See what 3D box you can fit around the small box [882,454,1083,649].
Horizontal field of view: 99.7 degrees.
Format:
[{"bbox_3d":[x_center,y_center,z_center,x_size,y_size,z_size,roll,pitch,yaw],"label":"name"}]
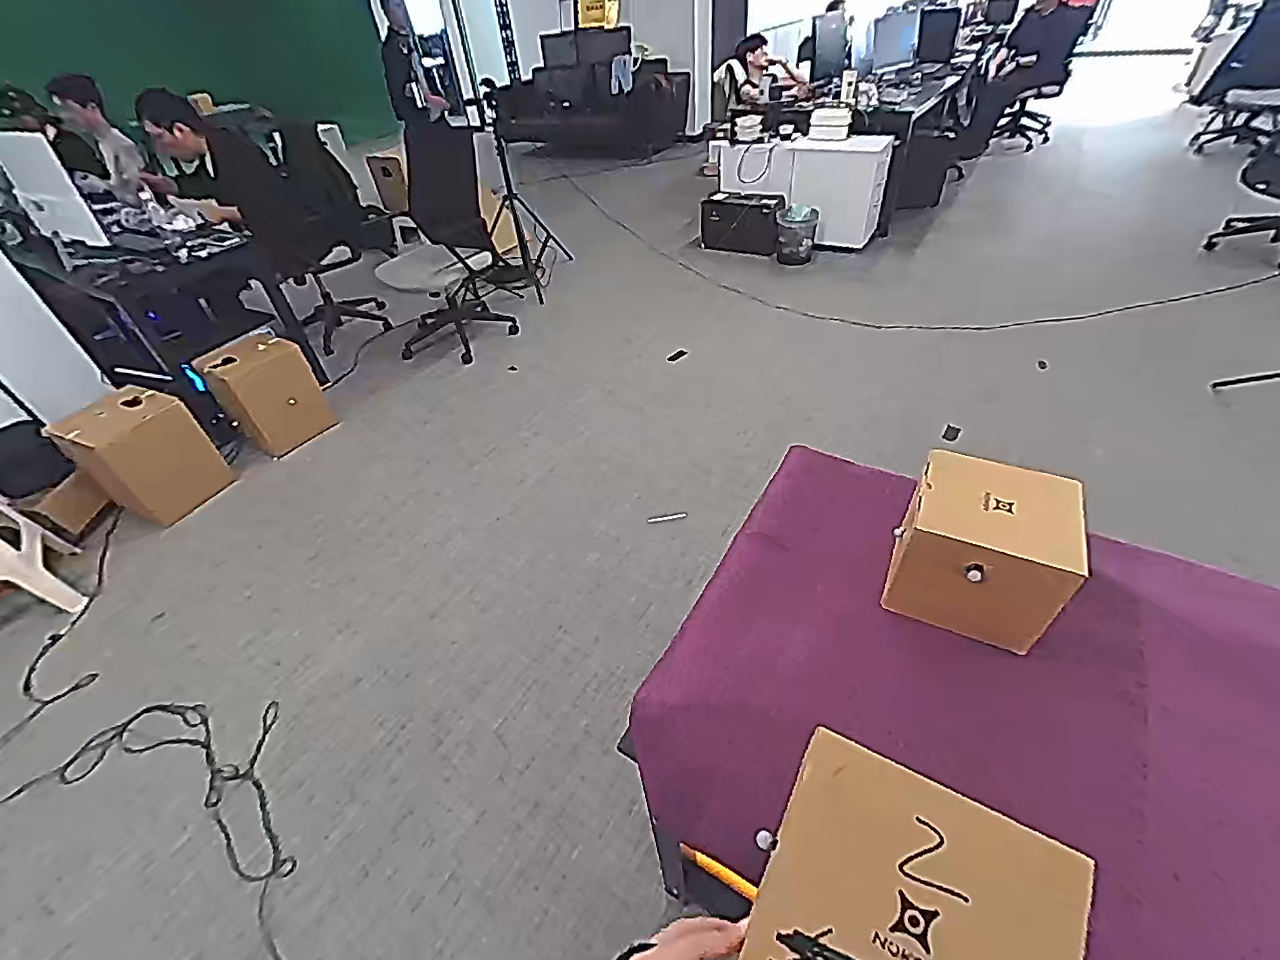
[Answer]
[{"bbox_3d":[0.444,0.096,0.718,0.179,0.176,0.168,17,46,23],"label":"small box"}]
